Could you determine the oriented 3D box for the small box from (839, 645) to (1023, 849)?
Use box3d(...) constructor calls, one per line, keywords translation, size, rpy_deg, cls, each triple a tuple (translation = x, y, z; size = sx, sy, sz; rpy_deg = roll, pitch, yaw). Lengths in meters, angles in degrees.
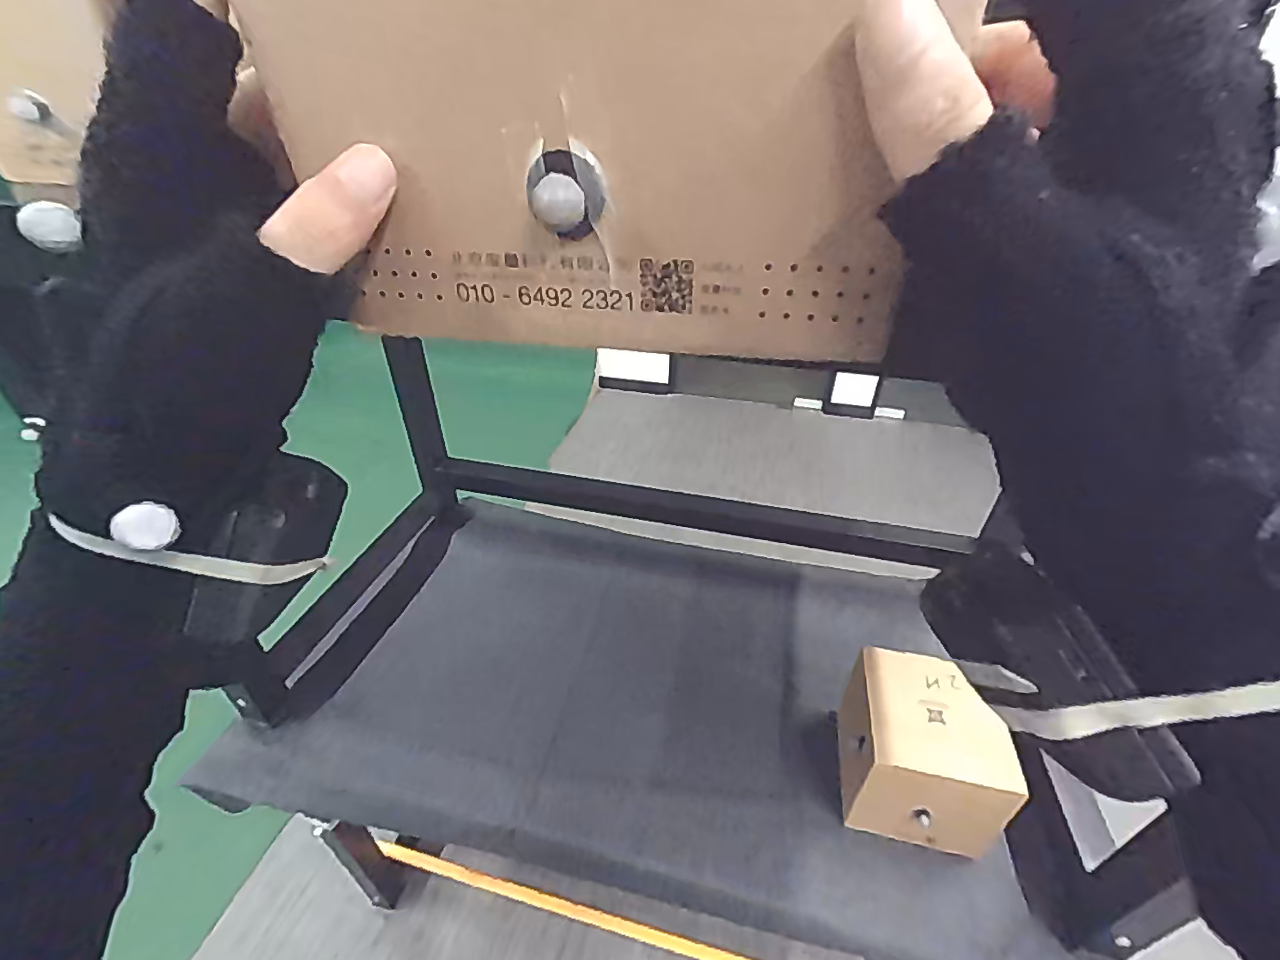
box3d(translation=(0.374, 0.360, 0.735), size=(0.168, 0.176, 0.179), rpy_deg=(8, 35, 11), cls="small box")
